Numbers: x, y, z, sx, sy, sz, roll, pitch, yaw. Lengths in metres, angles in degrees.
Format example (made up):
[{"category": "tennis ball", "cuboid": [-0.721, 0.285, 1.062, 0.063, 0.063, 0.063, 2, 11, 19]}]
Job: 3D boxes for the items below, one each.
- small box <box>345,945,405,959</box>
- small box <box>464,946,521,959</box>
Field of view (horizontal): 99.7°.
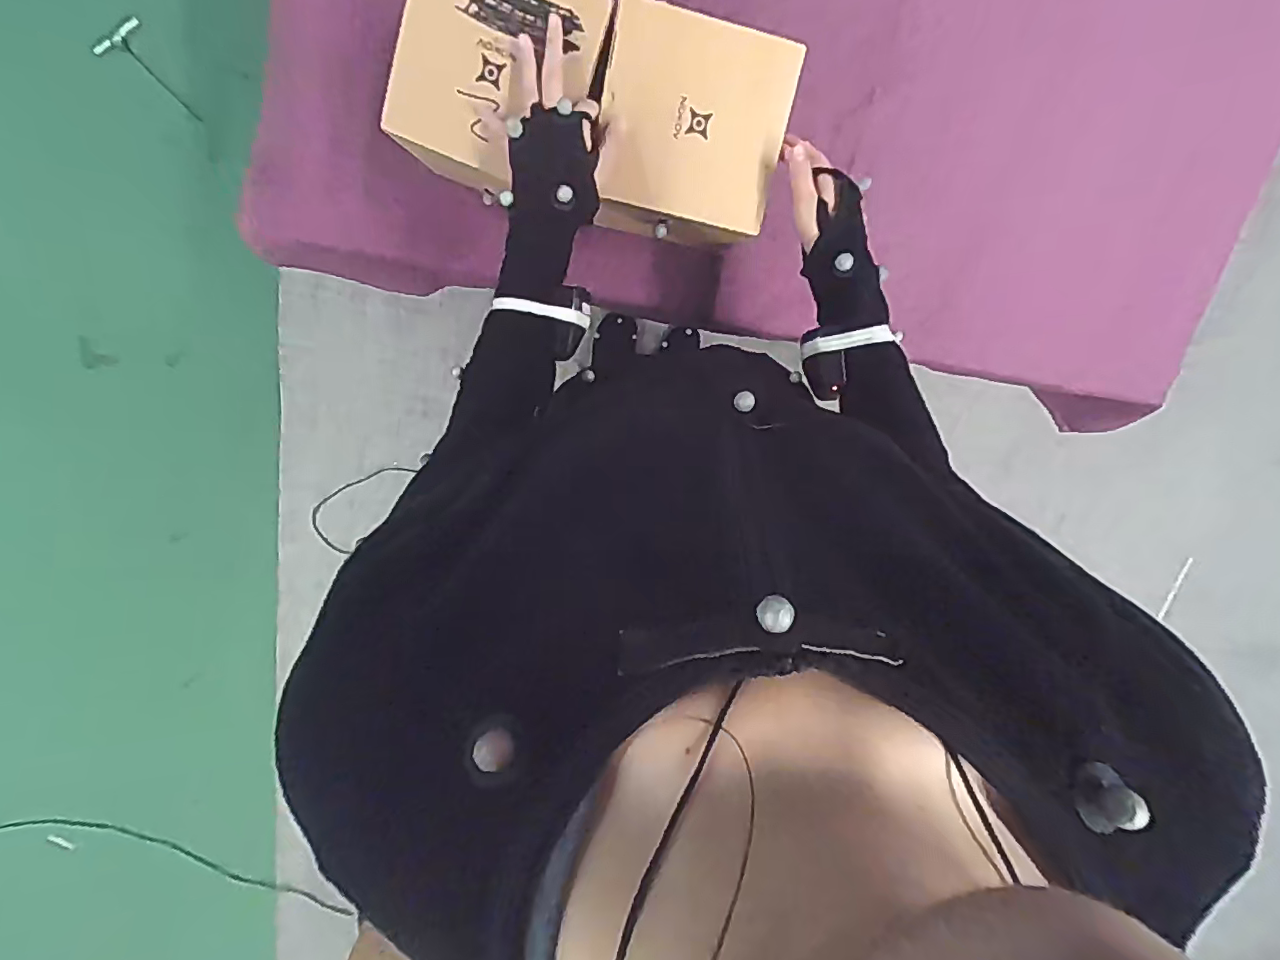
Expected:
[{"category": "small box", "cuboid": [-0.807, 1.519, 1.591, 0.168, 0.176, 0.179, 7, 105, -4]}, {"category": "small box", "cuboid": [-0.460, 1.550, 1.623, 0.179, 0.176, 0.168, 8, 103, -5]}]
